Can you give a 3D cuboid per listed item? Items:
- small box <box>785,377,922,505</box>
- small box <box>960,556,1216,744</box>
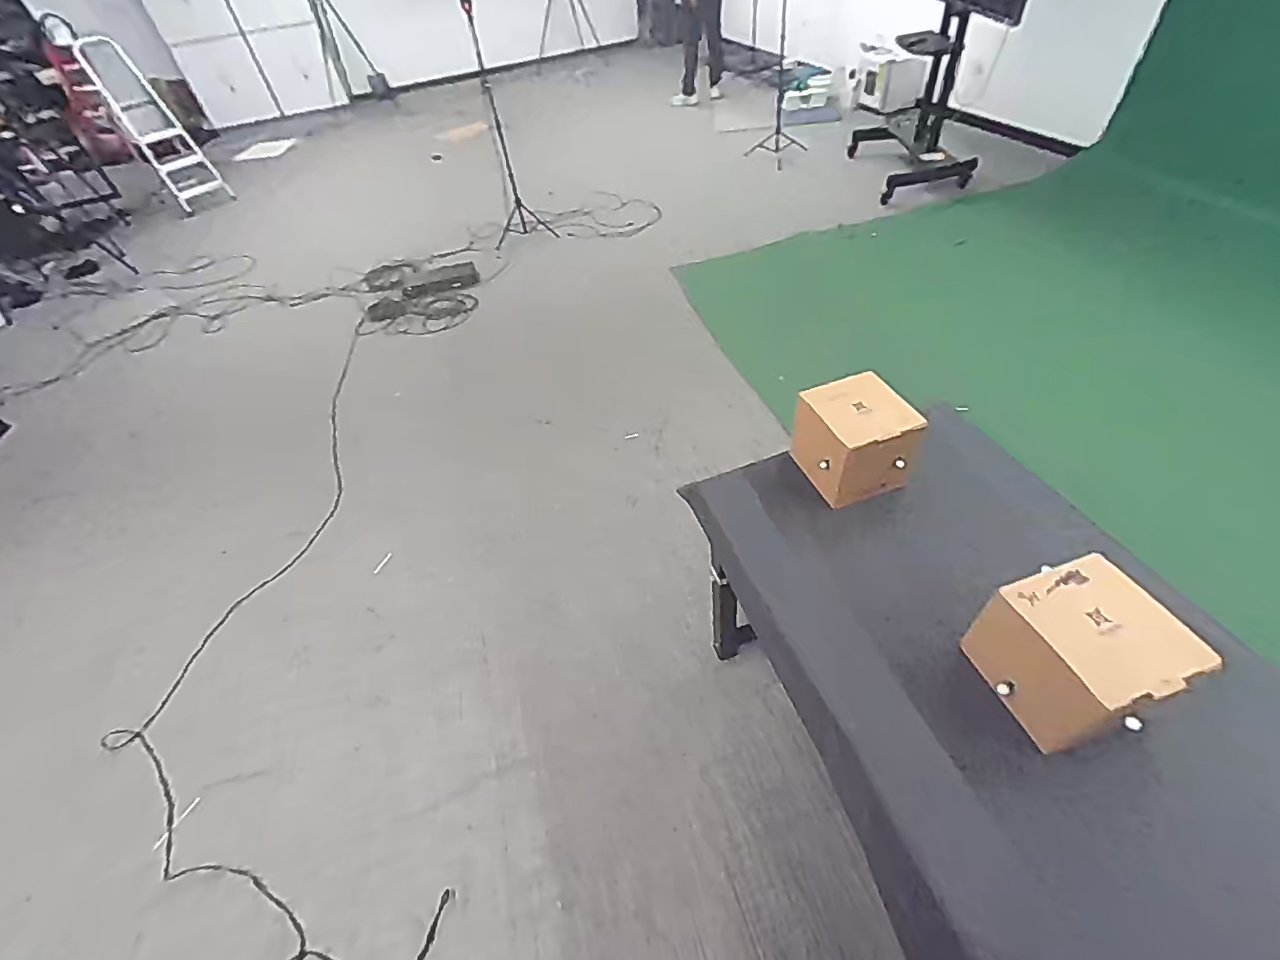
[{"bbox_3d":[0.407,-0.070,1.064,0.168,0.176,0.179,-17,46,-12],"label":"small box"},{"bbox_3d":[0.592,0.240,0.745,0.168,0.176,0.179,-16,47,-10],"label":"small box"}]
